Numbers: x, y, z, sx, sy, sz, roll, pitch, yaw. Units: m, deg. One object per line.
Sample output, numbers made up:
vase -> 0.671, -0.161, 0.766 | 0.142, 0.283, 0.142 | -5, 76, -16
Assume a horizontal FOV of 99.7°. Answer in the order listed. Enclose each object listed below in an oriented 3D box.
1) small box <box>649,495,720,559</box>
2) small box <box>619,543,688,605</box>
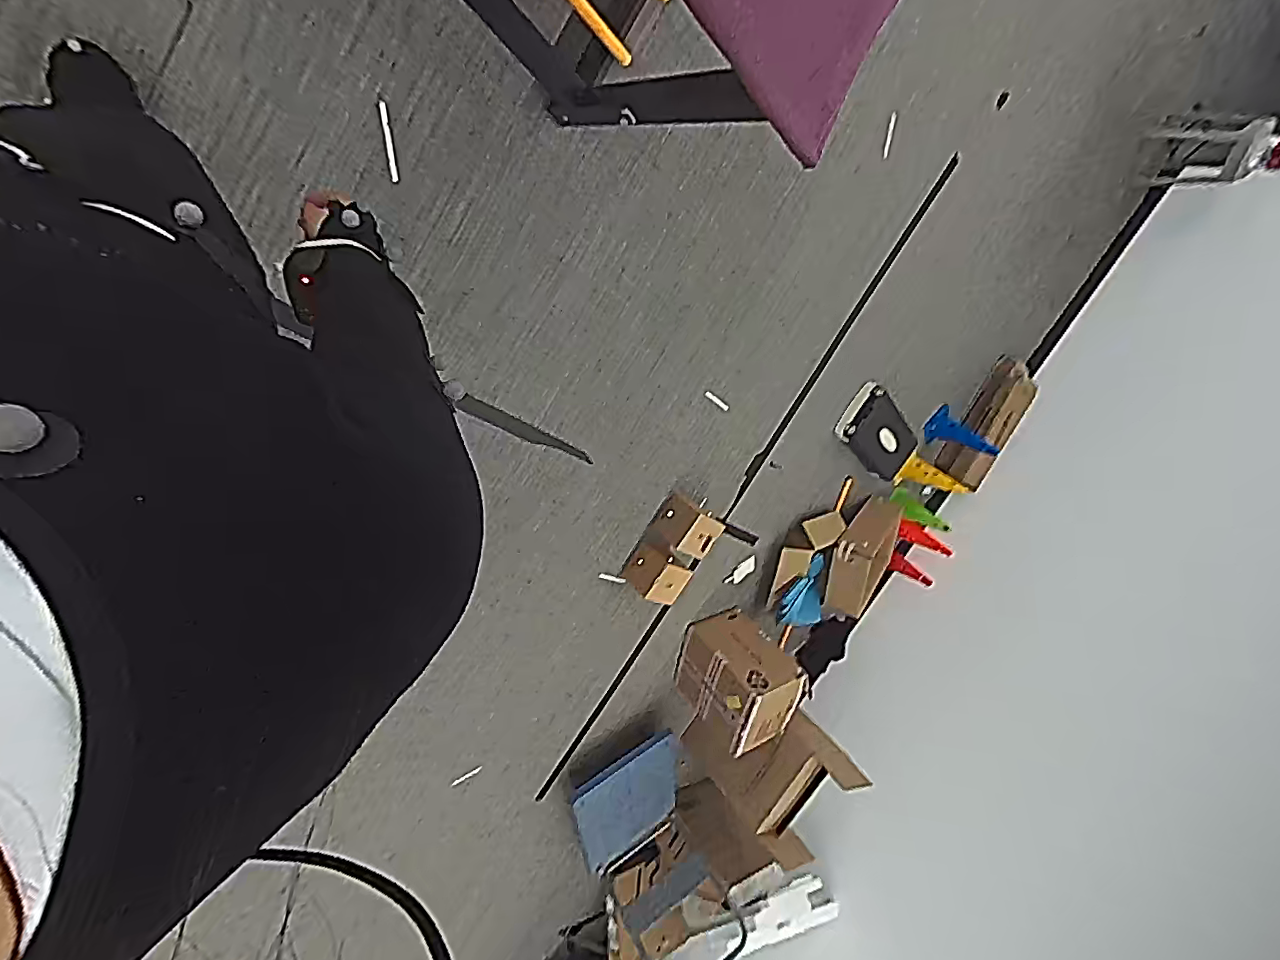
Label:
small box -> 0.172, 0.181, 2.115 | 0.179, 0.176, 0.168 | 29, 97, -45
small box -> 0.052, 0.371, 2.149 | 0.179, 0.176, 0.168 | 26, 100, -45
